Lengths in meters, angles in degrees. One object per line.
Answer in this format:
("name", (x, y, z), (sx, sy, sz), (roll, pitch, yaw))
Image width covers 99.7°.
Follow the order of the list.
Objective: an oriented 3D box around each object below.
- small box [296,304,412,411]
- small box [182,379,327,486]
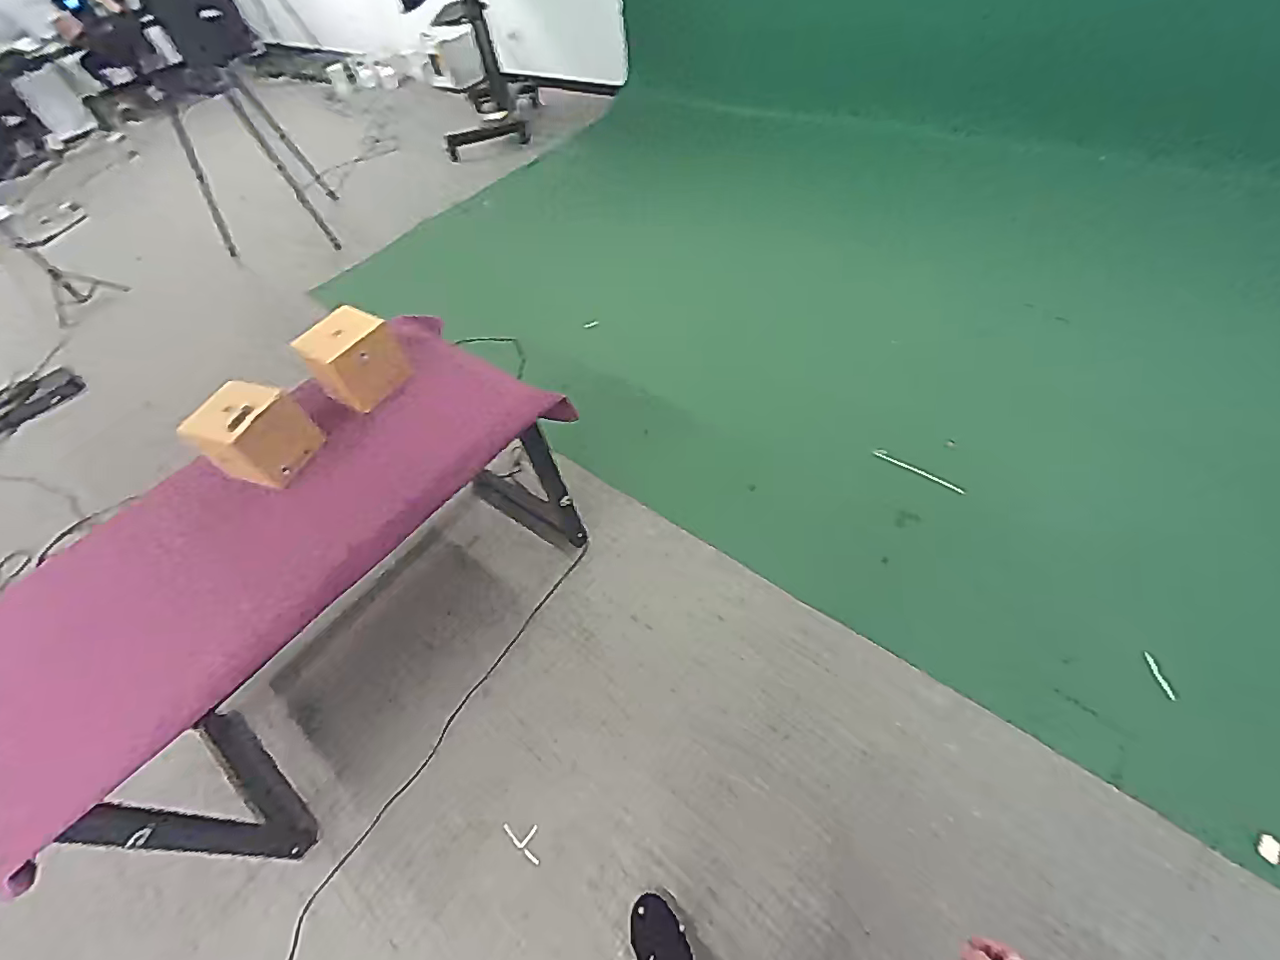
("small box", (-0.711, -0.309, 1.374), (0.168, 0.176, 0.179), (25, 63, 25))
("small box", (-0.877, -0.106, 1.250), (0.179, 0.176, 0.168), (12, 56, 19))
